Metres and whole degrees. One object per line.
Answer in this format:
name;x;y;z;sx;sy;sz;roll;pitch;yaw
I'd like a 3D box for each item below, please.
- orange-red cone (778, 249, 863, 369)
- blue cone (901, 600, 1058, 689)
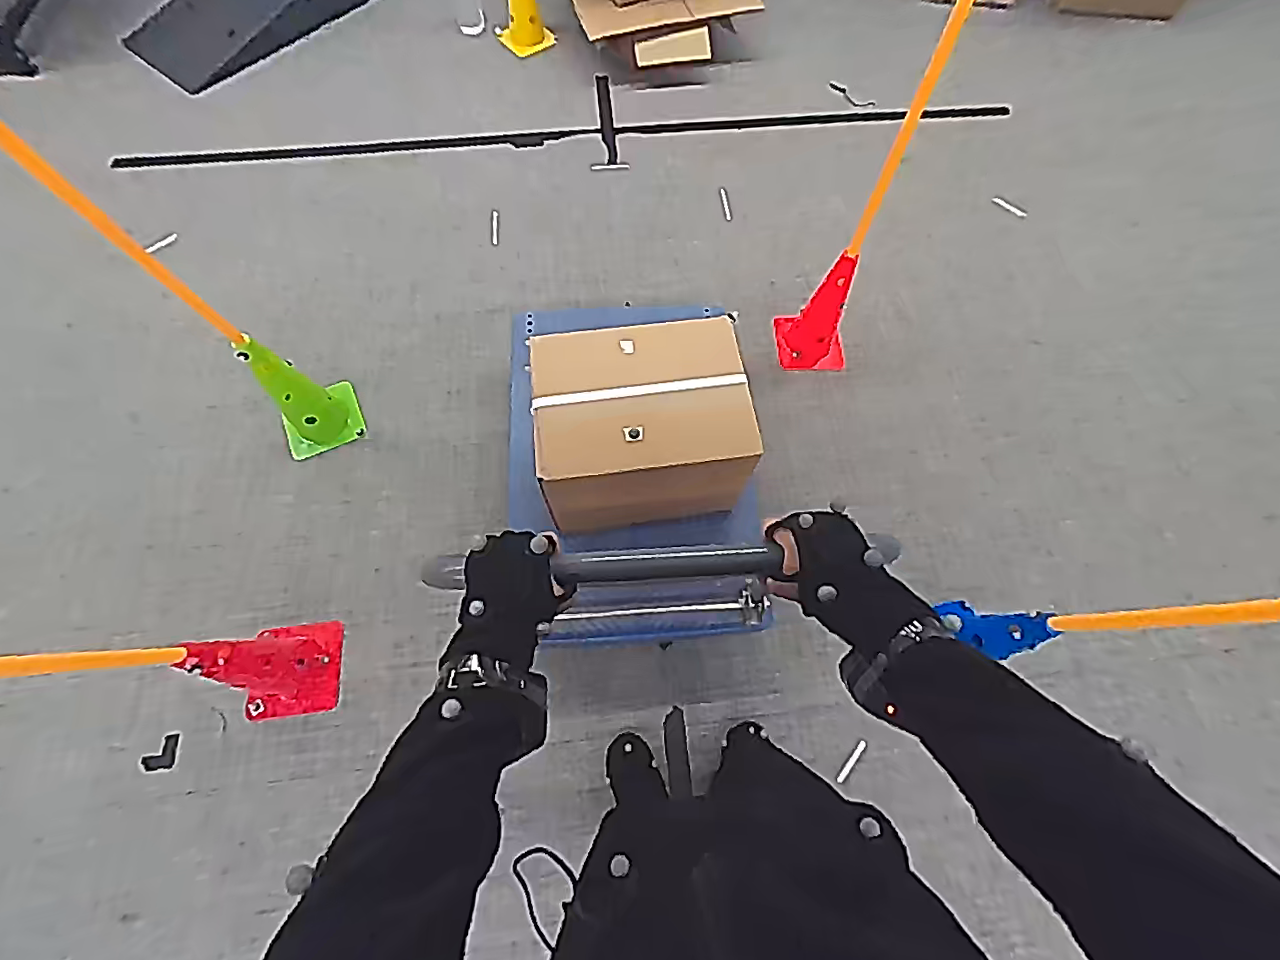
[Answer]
orange-red cone;0.529;-0.489;1.491;0.199;0.360;0.198;1;67;-2
blue cone;0.753;0.330;1.161;0.193;0.380;0.192;-9;66;-6
